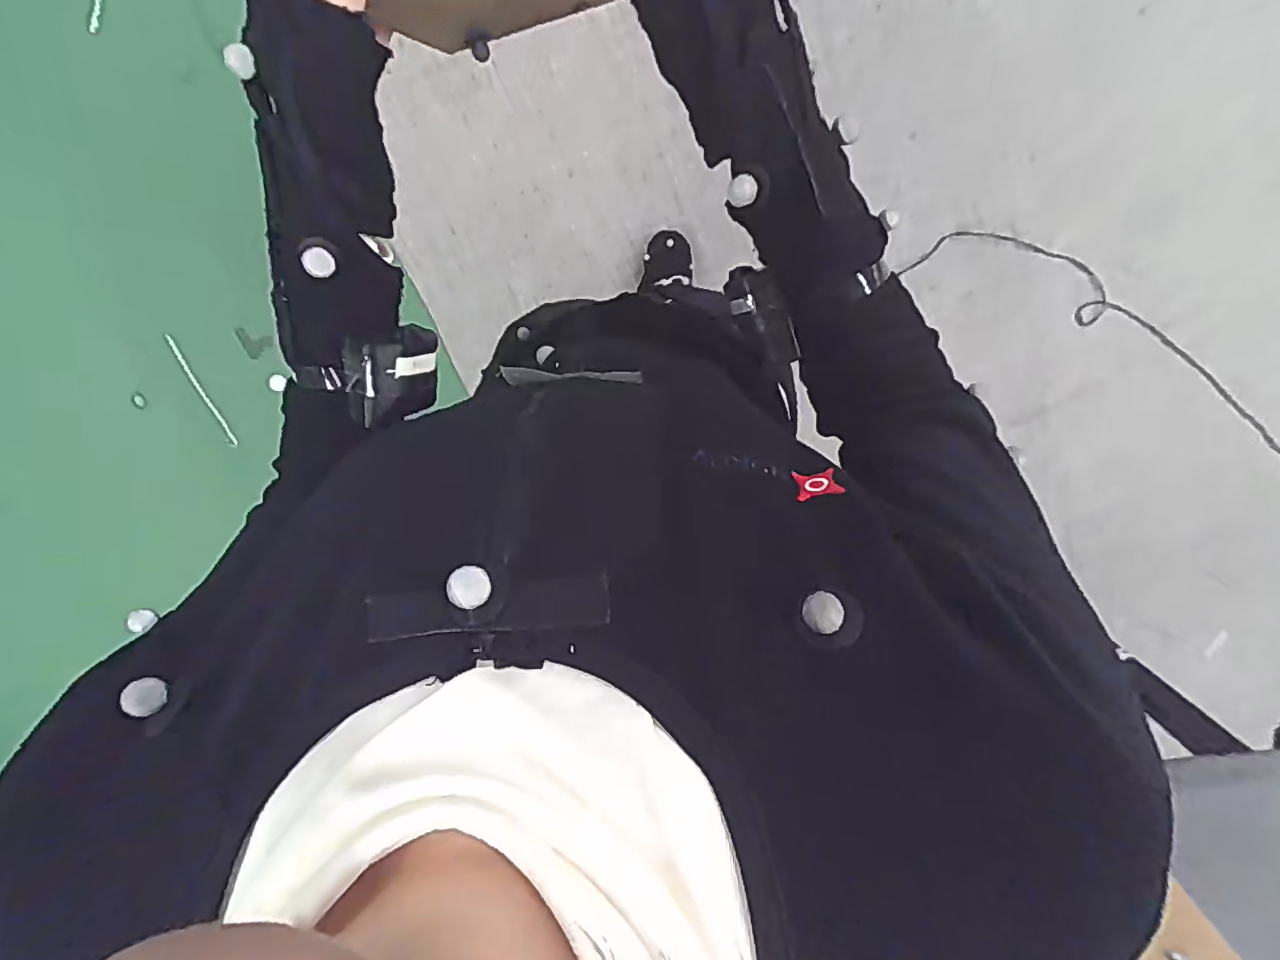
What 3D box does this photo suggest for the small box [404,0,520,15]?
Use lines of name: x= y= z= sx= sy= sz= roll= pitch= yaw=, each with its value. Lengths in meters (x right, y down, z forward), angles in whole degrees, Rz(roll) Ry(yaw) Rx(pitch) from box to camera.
small box: x=-0.082 y=-0.361 z=0.261 sx=0.168 sy=0.176 sz=0.179 roll=-10 pitch=120 yaw=9
